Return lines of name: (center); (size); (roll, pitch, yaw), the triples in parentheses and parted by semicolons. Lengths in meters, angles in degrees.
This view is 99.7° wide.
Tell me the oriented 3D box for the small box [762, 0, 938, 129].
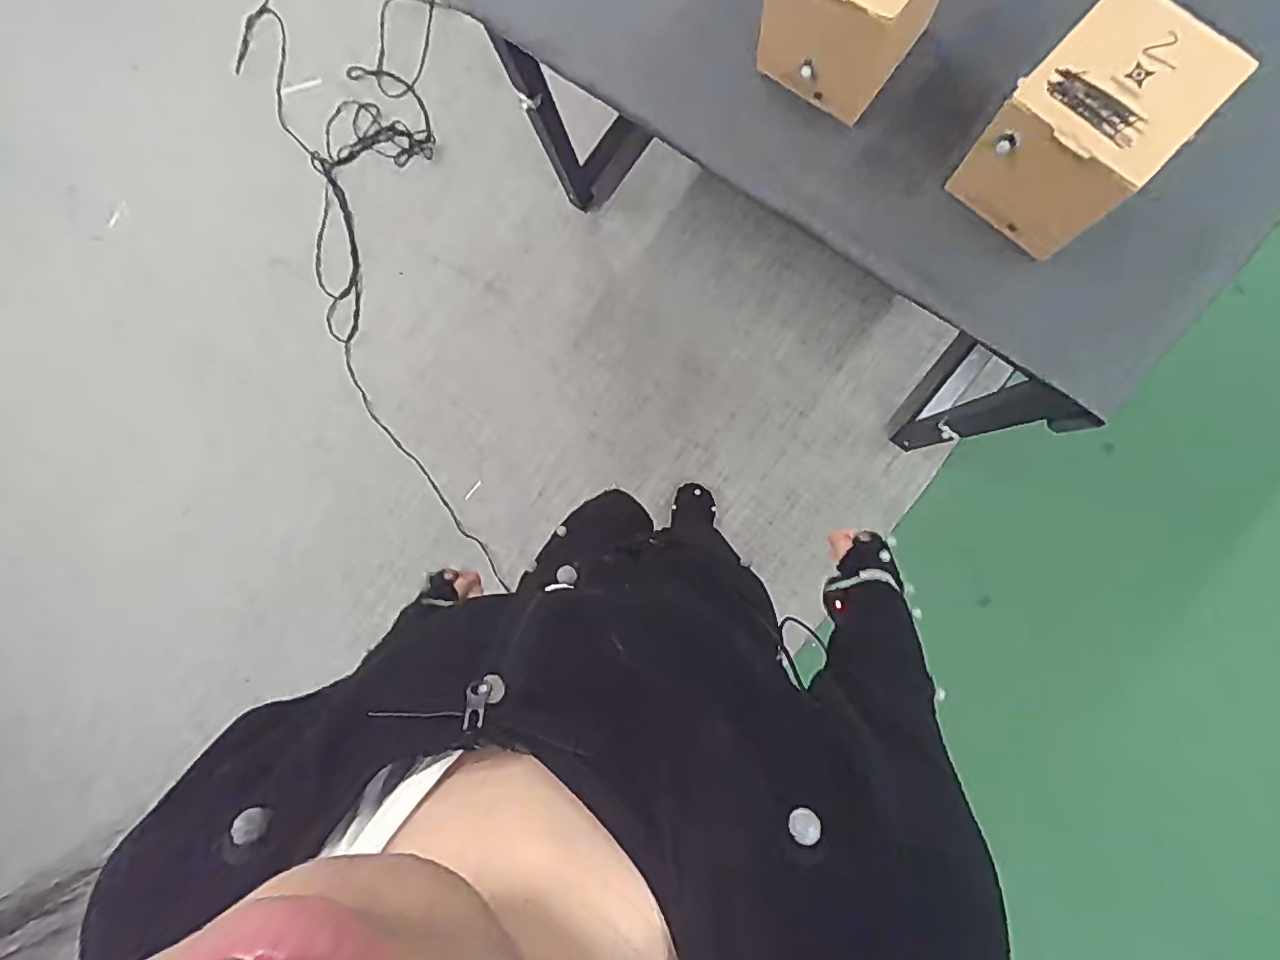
small box: (0.272, -0.607, 0.688); (0.168, 0.176, 0.179); (37, 92, 7)
